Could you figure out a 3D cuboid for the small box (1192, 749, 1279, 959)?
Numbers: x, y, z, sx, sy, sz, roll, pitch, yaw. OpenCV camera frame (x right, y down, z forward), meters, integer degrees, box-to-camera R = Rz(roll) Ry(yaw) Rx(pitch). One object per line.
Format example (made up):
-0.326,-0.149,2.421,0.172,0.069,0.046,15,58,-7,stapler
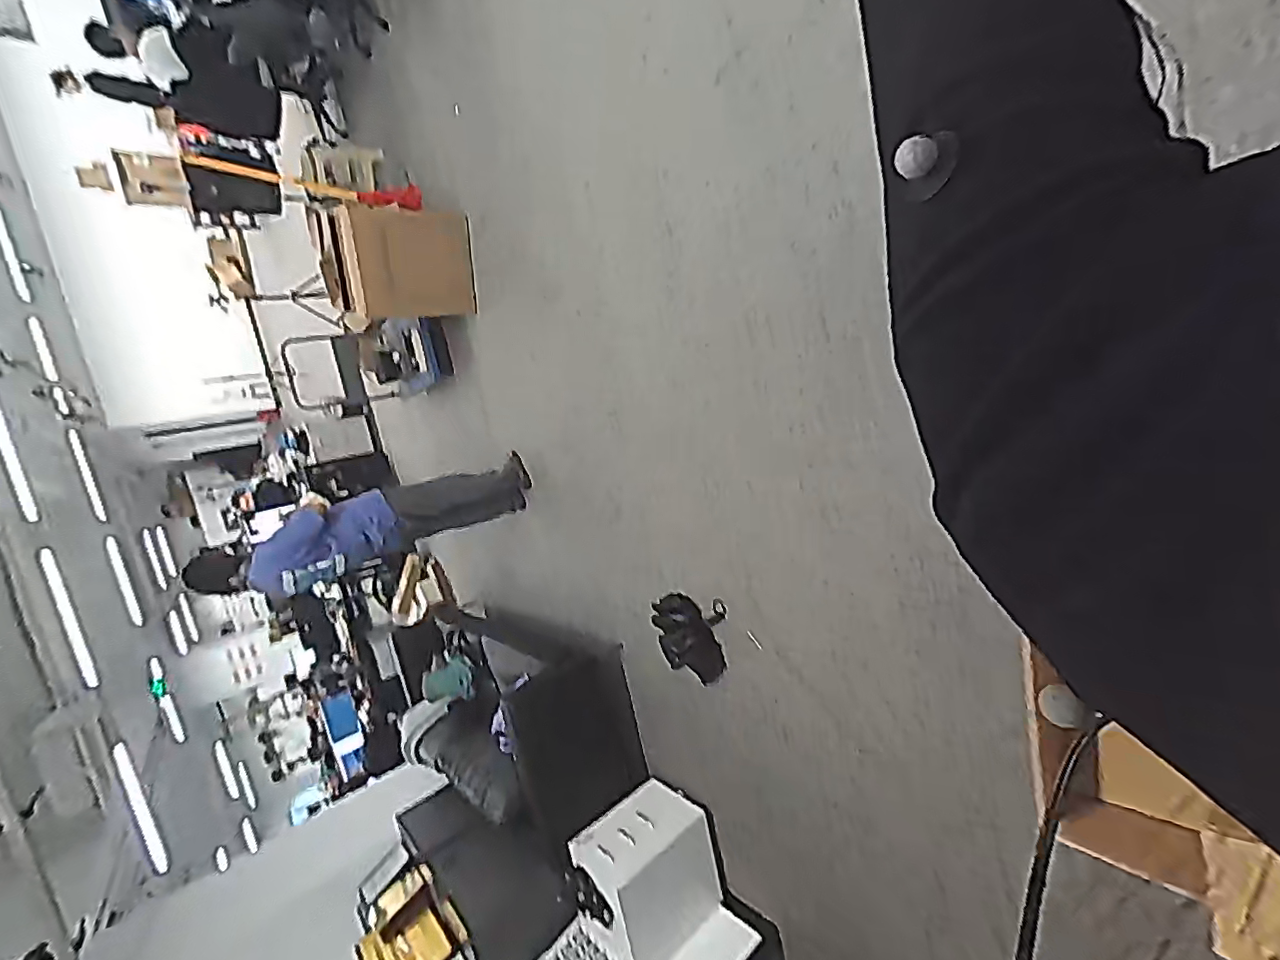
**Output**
0.761,0.447,0.618,0.168,0.176,0.179,-3,102,52,small box
